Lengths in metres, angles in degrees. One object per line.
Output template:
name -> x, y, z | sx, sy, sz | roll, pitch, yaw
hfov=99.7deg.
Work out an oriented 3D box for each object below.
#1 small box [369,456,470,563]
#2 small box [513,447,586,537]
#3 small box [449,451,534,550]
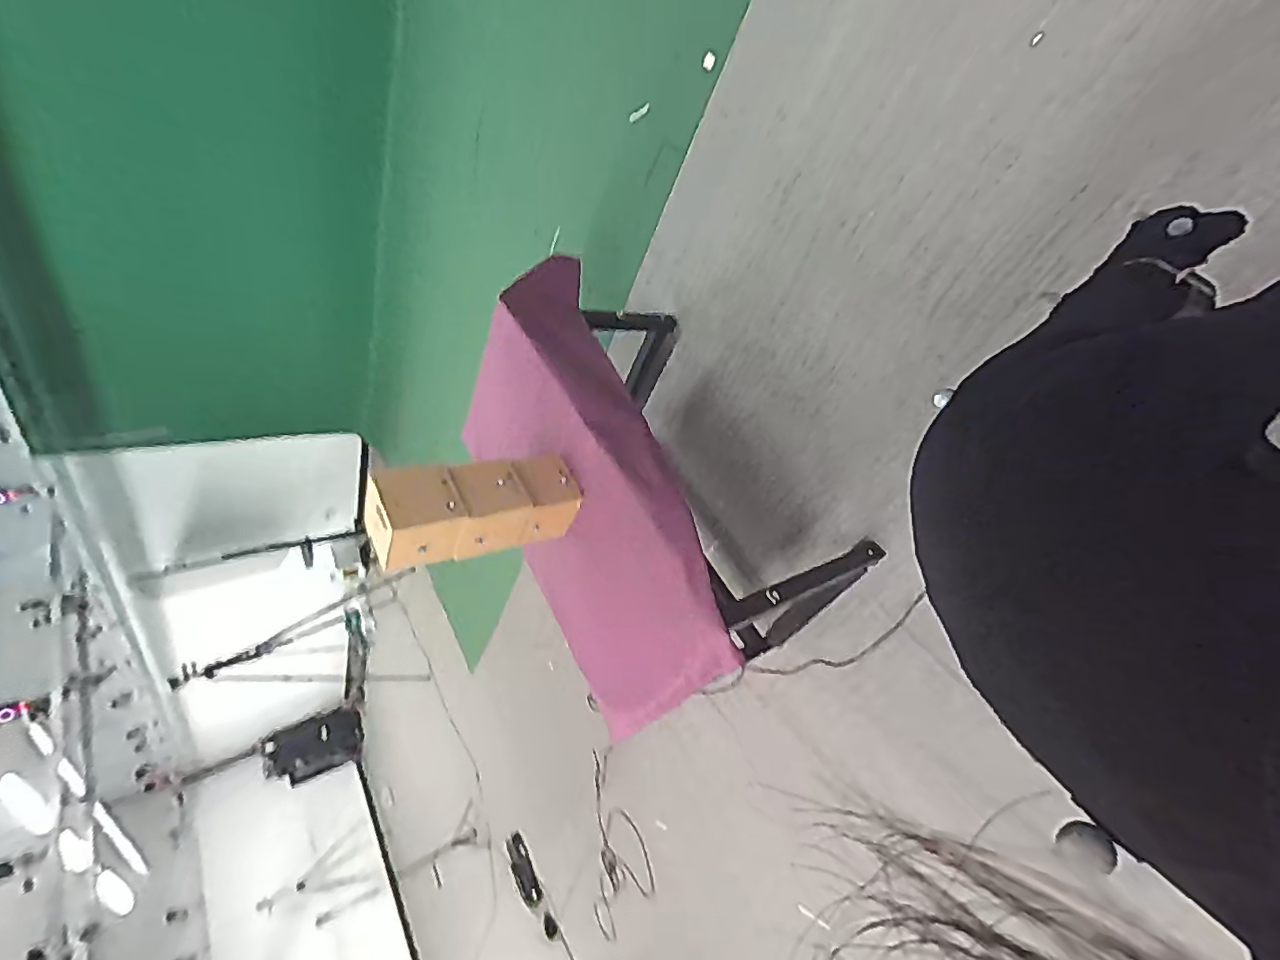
small box -> -0.512, 0.064, 1.260 | 0.168, 0.176, 0.179 | 57, 137, 24
small box -> -0.271, 0.030, 1.481 | 0.168, 0.176, 0.179 | 58, 136, 24
small box -> -0.388, 0.048, 1.367 | 0.168, 0.176, 0.179 | 56, 136, 24
